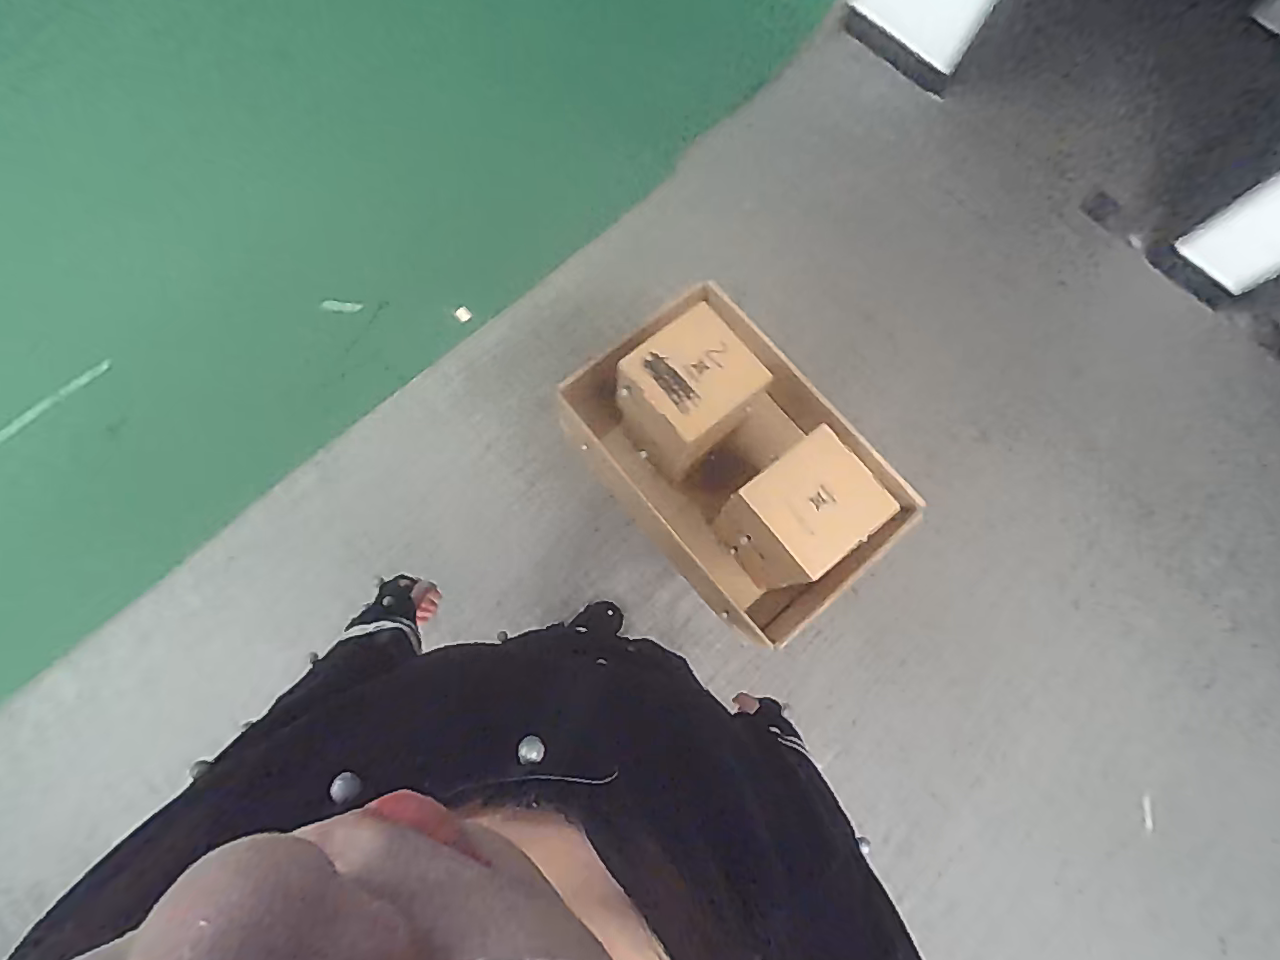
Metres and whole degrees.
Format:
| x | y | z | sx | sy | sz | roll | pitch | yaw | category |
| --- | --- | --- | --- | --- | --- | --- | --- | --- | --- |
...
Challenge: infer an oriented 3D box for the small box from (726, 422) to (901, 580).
| x | y | z | sx | sy | sz | roll | pitch | yaw | category |
| --- | --- | --- | --- | --- | --- | --- | --- | --- | --- |
| 0.259 | 0.041 | 0.855 | 0.179 | 0.176 | 0.168 | -36 | 79 | -8 | small box |
